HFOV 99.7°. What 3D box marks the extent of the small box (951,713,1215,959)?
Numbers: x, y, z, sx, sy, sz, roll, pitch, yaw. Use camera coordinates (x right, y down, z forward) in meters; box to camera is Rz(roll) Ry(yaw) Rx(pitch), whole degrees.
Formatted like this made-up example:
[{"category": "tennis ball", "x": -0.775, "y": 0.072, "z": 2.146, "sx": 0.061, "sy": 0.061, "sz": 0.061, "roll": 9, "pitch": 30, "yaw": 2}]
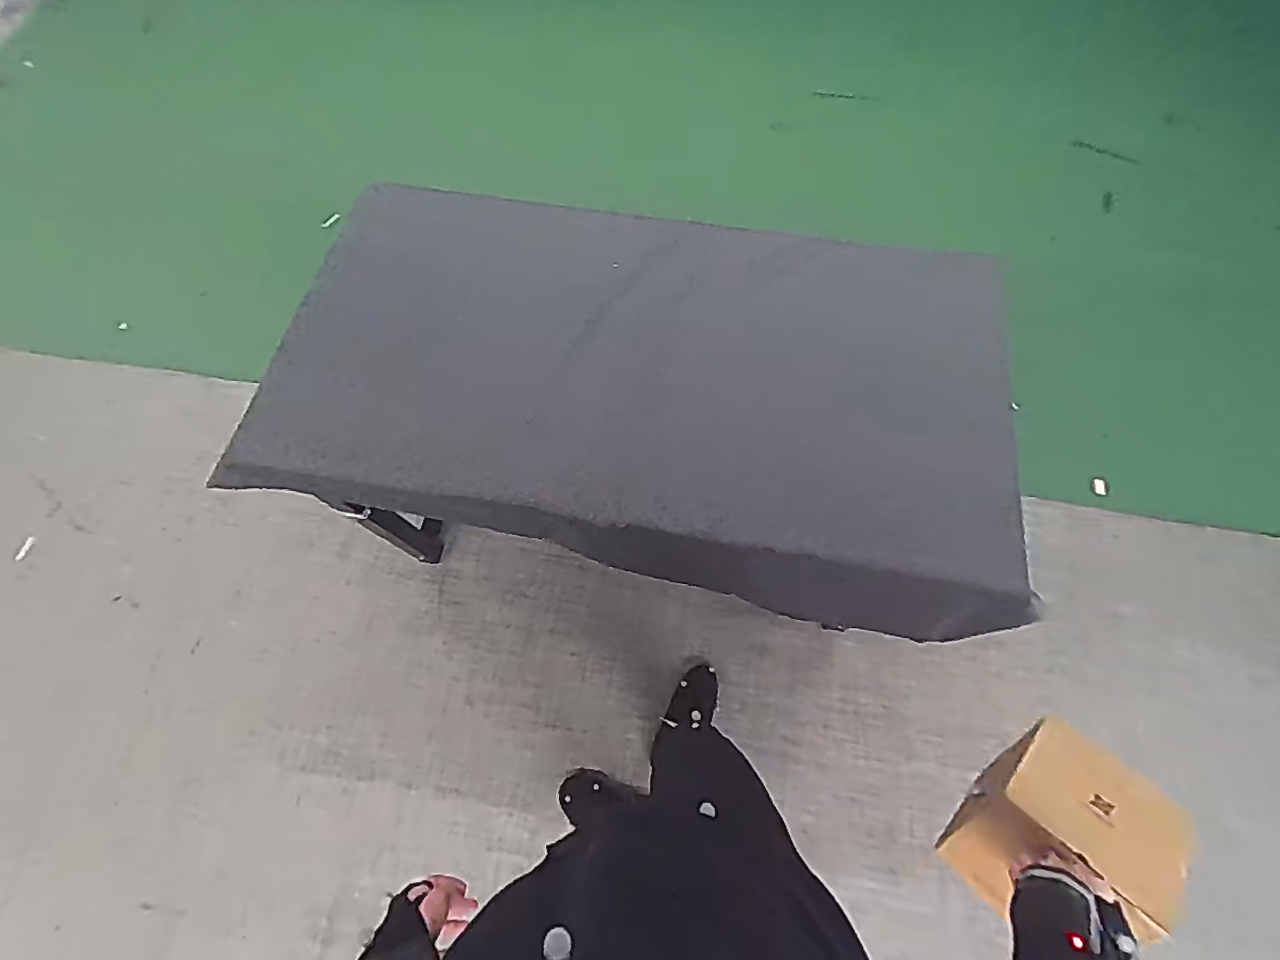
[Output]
[{"category": "small box", "x": 0.516, "y": 0.430, "z": 0.652, "sx": 0.179, "sy": 0.176, "sz": 0.168, "roll": -18, "pitch": 48, "yaw": -35}]
